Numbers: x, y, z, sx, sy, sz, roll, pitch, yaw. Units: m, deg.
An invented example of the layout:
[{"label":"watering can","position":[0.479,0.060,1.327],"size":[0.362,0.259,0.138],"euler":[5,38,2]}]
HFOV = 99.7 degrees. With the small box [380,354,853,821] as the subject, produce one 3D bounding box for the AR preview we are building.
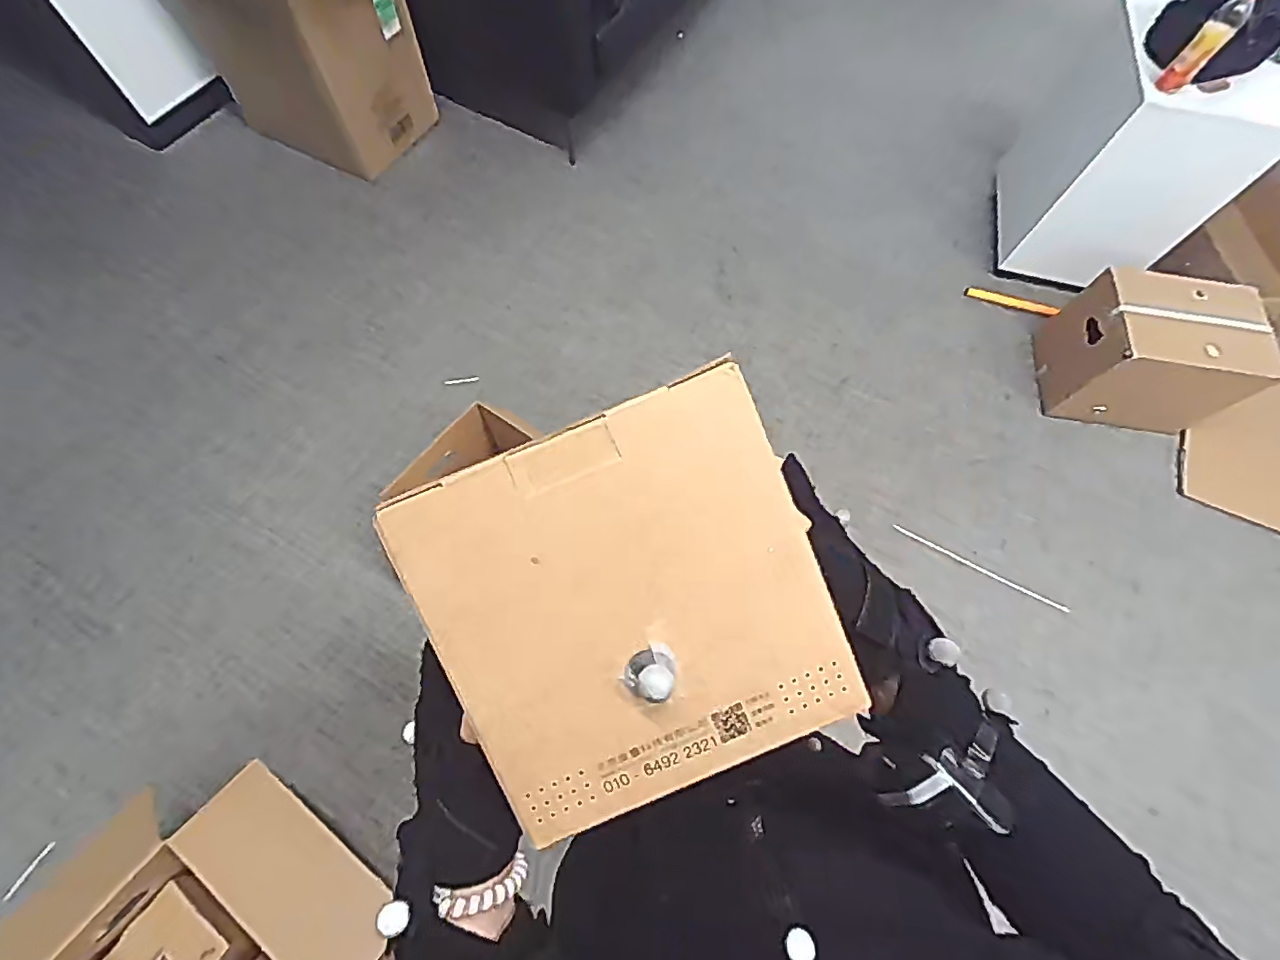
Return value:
[{"label":"small box","position":[-0.008,0.046,0.316],"size":[0.168,0.179,0.176],"euler":[-23,96,0]}]
